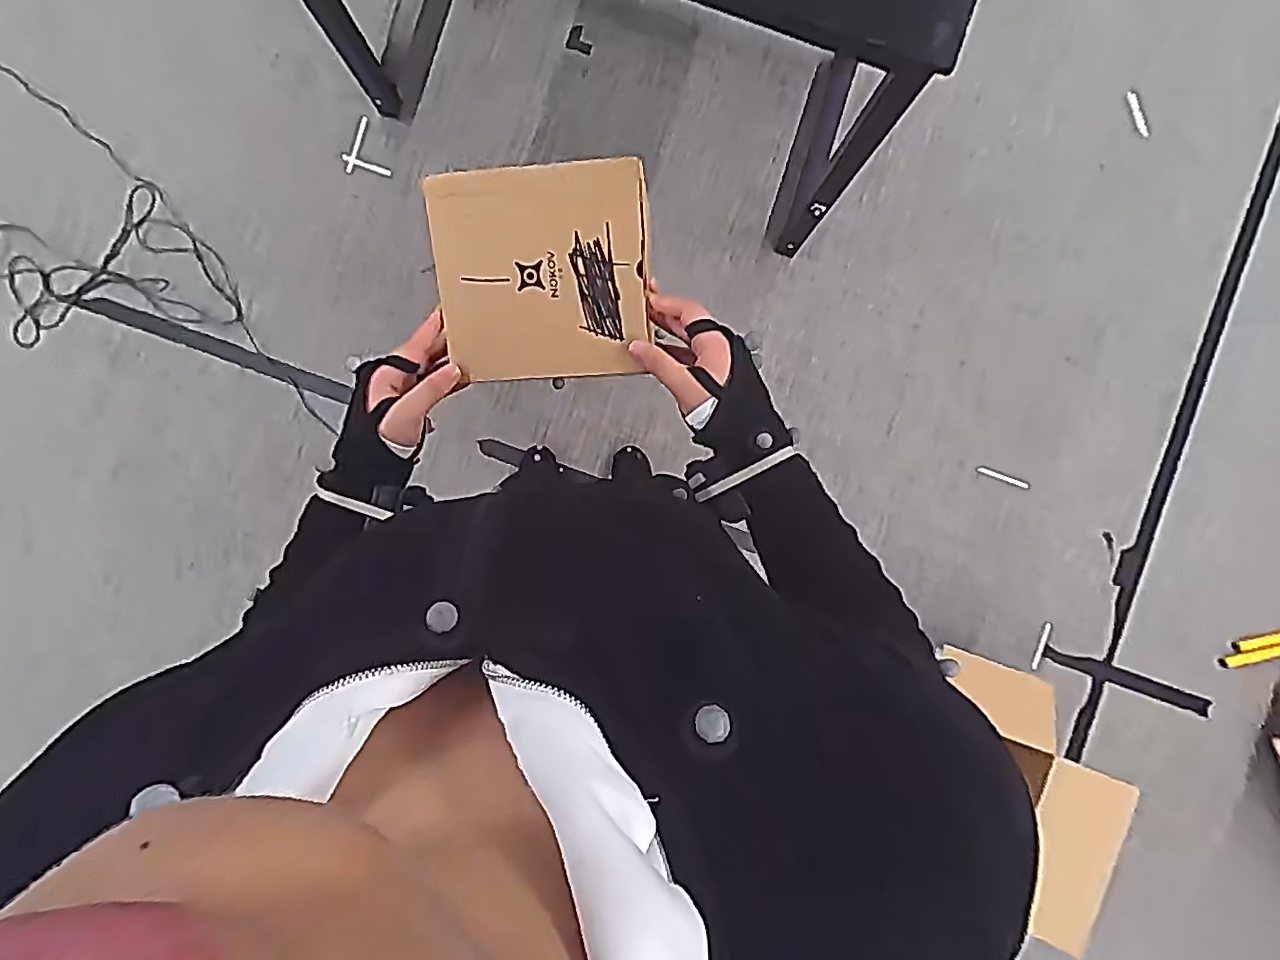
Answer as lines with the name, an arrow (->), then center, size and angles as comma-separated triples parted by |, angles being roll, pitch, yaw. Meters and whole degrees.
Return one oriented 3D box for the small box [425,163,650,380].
small box -> -0.079, -0.190, 0.524 | 0.179, 0.176, 0.168 | -2, 105, 4
